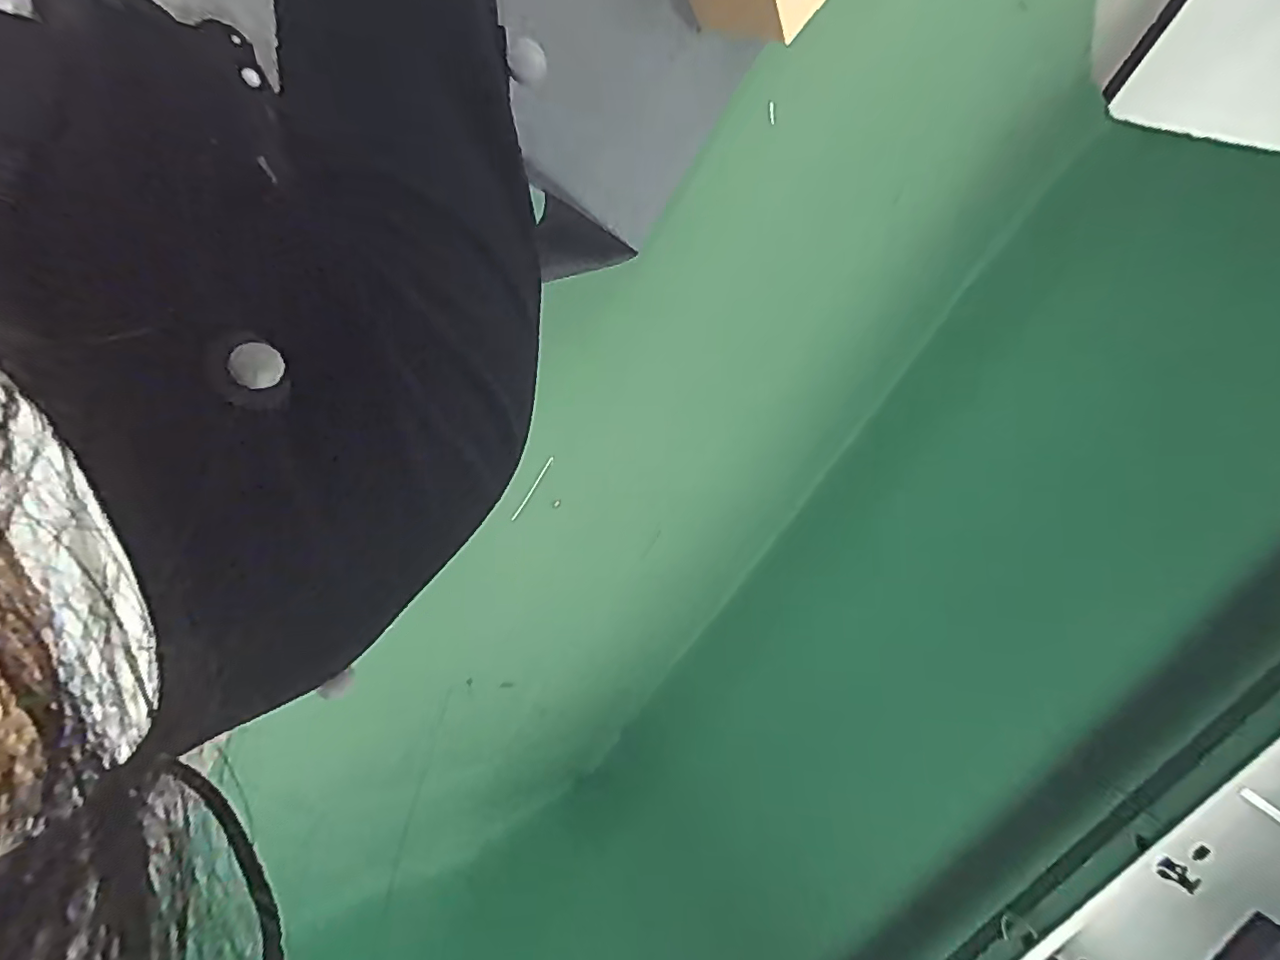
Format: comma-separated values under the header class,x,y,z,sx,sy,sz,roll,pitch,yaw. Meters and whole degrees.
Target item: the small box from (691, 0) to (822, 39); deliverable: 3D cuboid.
class,x,y,z,sx,sy,sz,roll,pitch,yaw
small box,0.150,-0.690,0.656,0.168,0.176,0.179,-49,146,4
